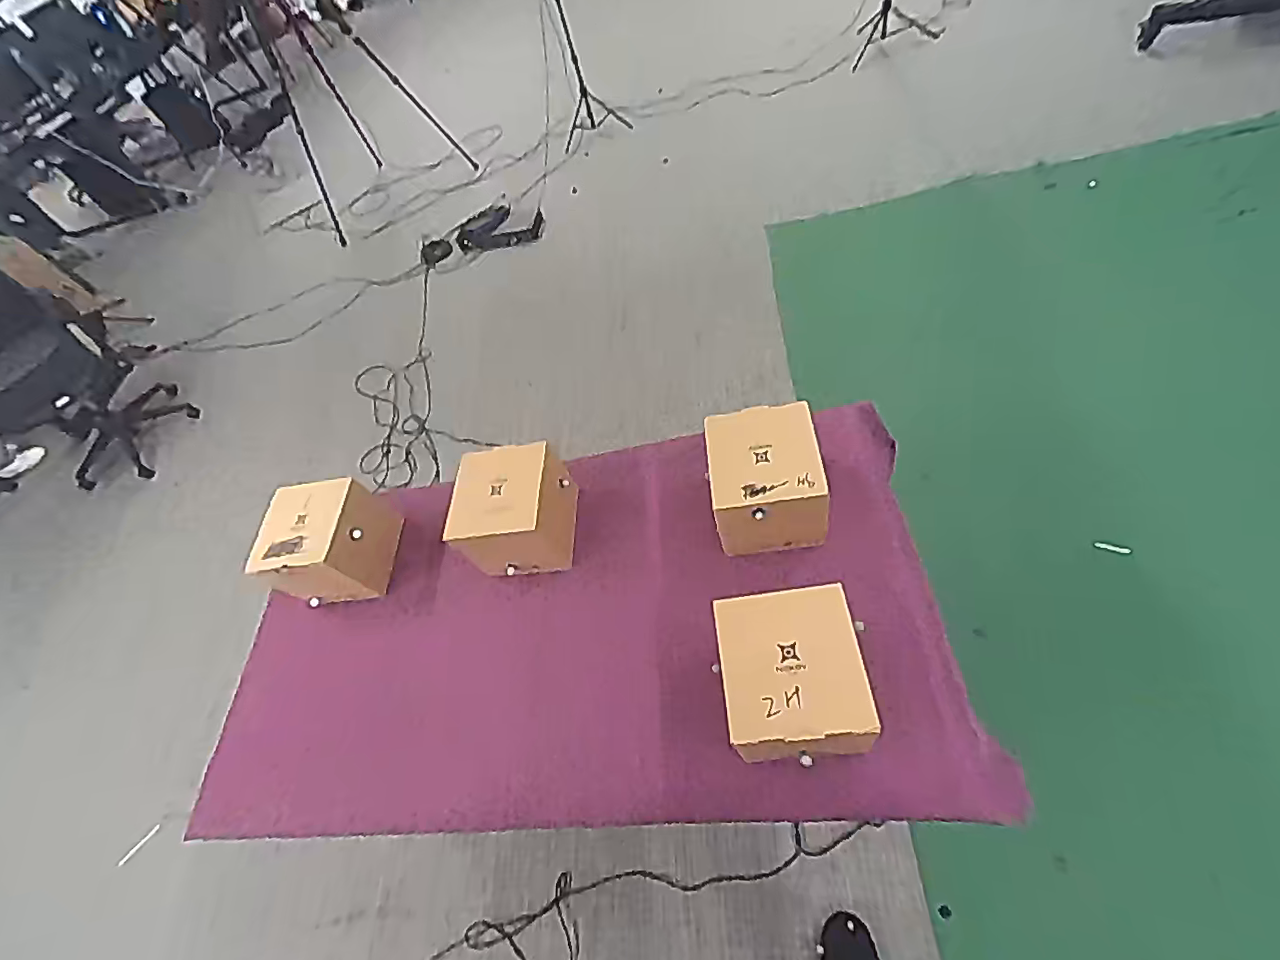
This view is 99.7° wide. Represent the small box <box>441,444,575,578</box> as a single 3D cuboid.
[{"bbox_3d":[-0.221,0.060,0.961,0.168,0.176,0.179,-6,58,12],"label":"small box"}]

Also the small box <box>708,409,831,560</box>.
[{"bbox_3d":[0.204,0.012,0.876,0.168,0.176,0.179,-8,57,11],"label":"small box"}]

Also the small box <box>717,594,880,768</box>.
[{"bbox_3d":[0.198,0.269,0.711,0.168,0.176,0.179,-9,56,11],"label":"small box"}]

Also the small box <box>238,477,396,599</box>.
[{"bbox_3d":[-0.590,0.117,1.017,0.168,0.176,0.179,-7,58,10],"label":"small box"}]
